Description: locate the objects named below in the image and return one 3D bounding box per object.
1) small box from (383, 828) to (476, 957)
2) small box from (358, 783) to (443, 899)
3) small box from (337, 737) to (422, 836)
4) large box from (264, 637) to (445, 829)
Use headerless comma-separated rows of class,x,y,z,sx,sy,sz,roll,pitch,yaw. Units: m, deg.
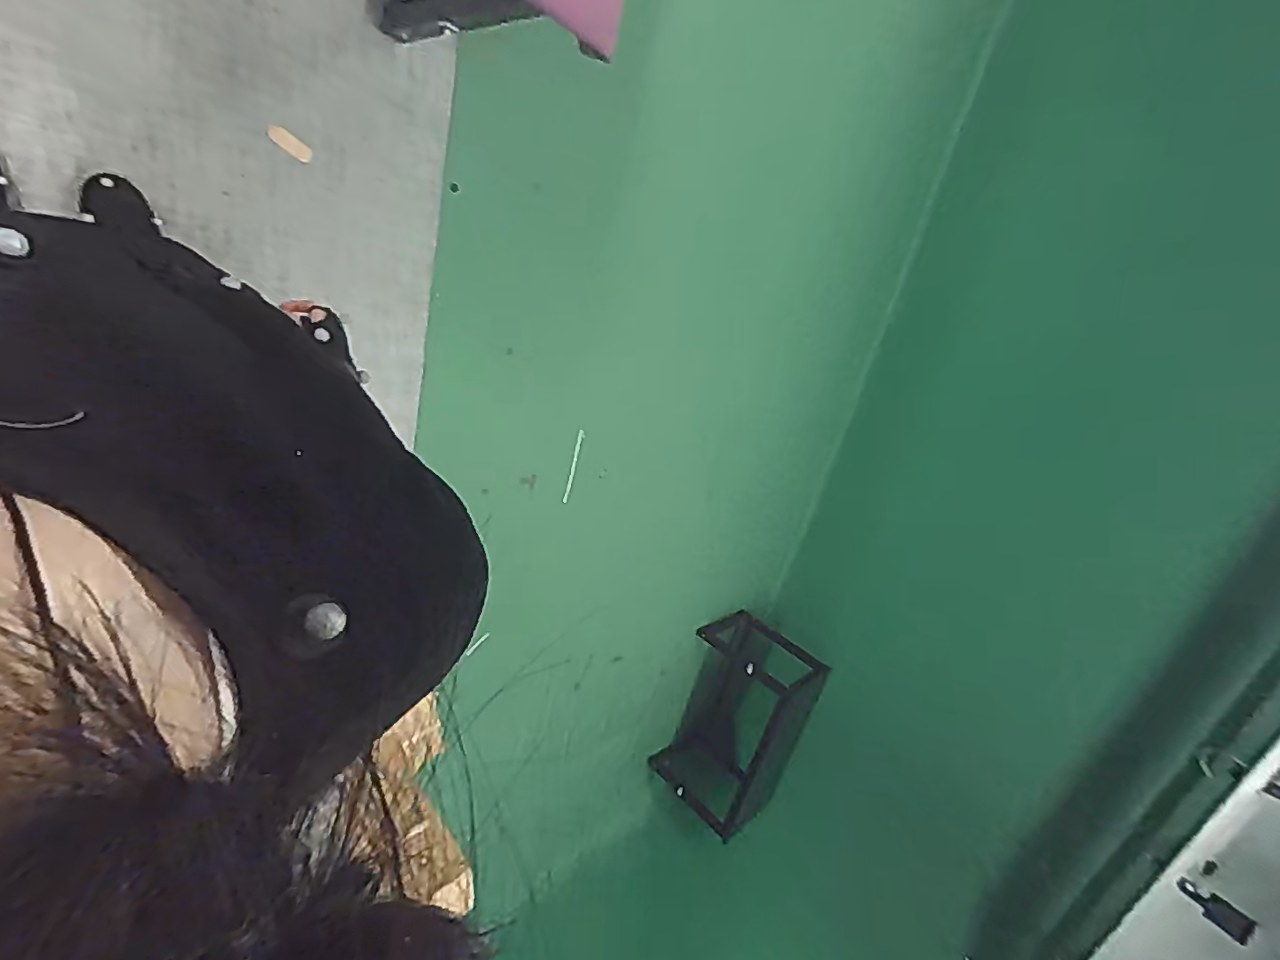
small box,-0.537,1.037,1.380,0.168,0.176,0.179,-19,125,-40
small box,-0.653,0.970,1.476,0.168,0.176,0.179,-17,125,-41
small box,-0.757,0.899,1.581,0.179,0.176,0.168,-19,126,-40
large box,-0.906,0.792,1.746,0.408,0.320,0.320,-24,131,-39
